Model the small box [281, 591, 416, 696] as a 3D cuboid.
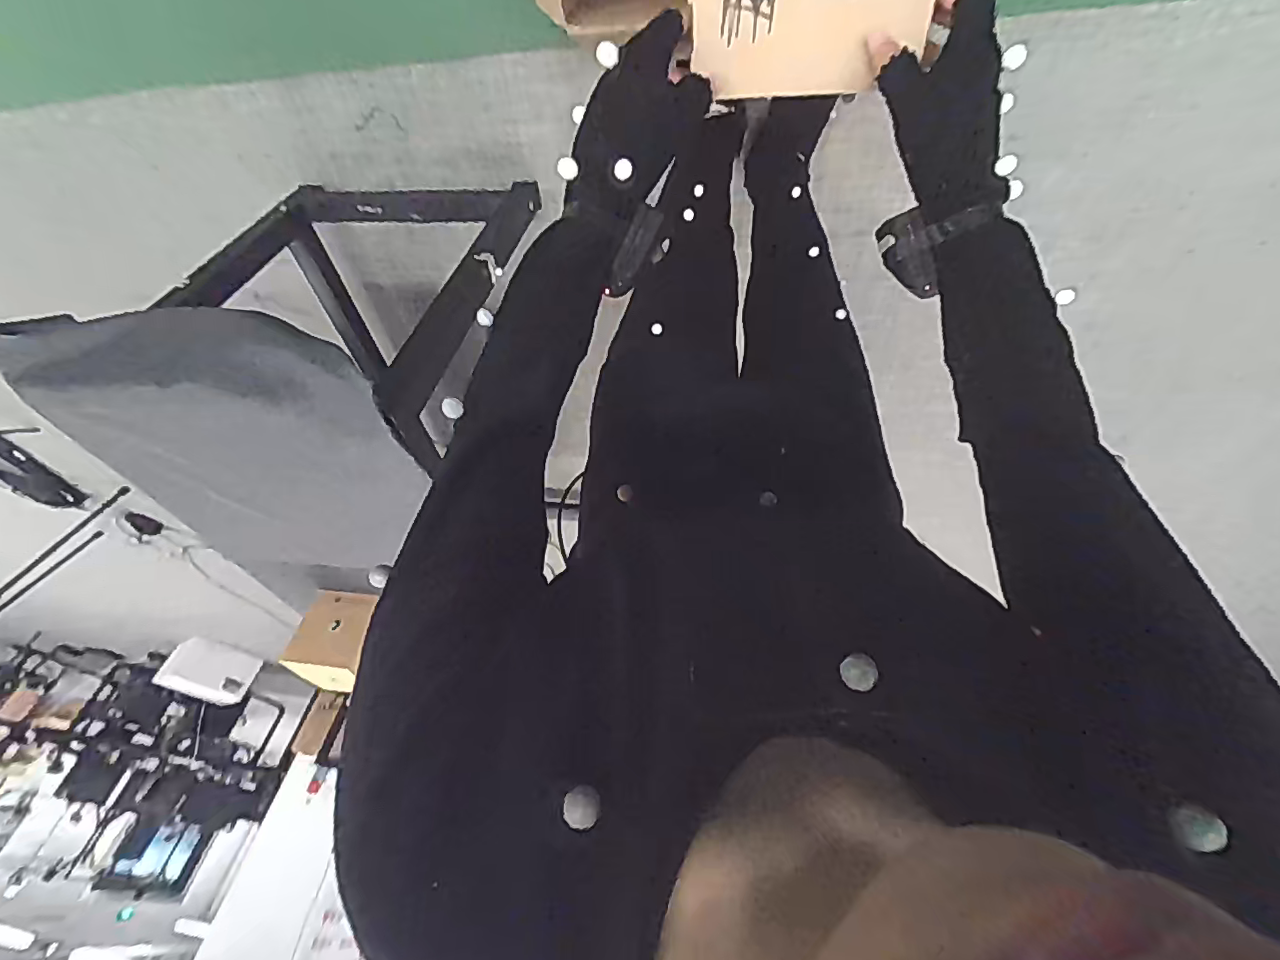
[{"bbox_3d":[-0.637,0.362,1.206,0.168,0.176,0.179,3,141,11],"label":"small box"}]
